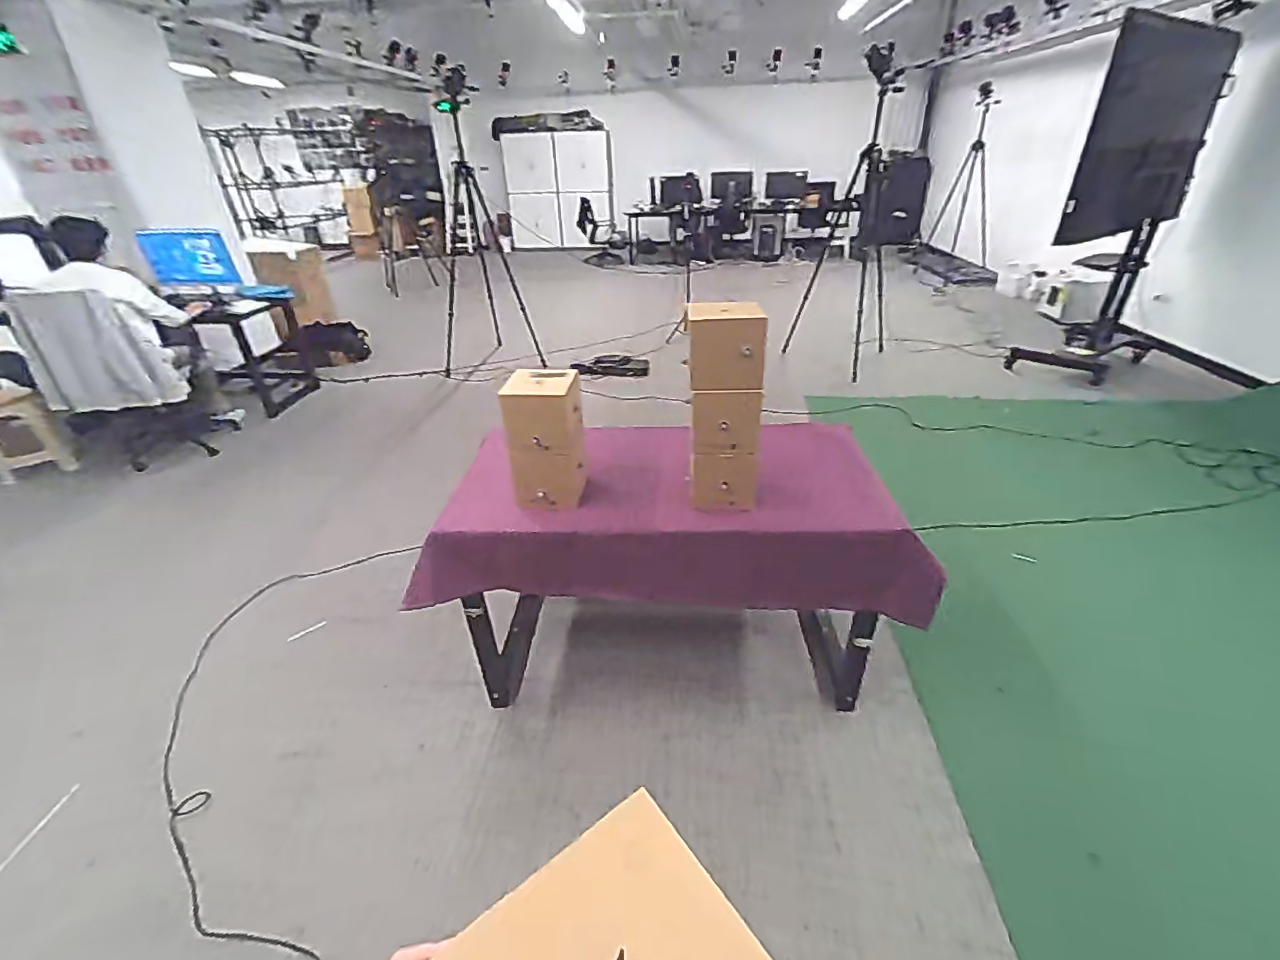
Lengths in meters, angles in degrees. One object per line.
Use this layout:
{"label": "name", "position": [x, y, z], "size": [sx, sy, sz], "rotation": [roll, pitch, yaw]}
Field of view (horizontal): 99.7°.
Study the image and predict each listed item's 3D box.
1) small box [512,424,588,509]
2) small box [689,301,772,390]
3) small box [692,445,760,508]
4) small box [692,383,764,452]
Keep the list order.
{"label": "small box", "position": [-0.239, -0.039, 1.484], "size": [0.168, 0.176, 0.179], "rotation": [1, 32, 5]}
{"label": "small box", "position": [0.208, -0.321, 1.287], "size": [0.179, 0.176, 0.168], "rotation": [-1, 30, 4]}
{"label": "small box", "position": [0.226, -0.038, 1.453], "size": [0.168, 0.176, 0.179], "rotation": [1, 32, 4]}
{"label": "small box", "position": [0.217, -0.179, 1.368], "size": [0.168, 0.176, 0.179], "rotation": [0, 31, 4]}
